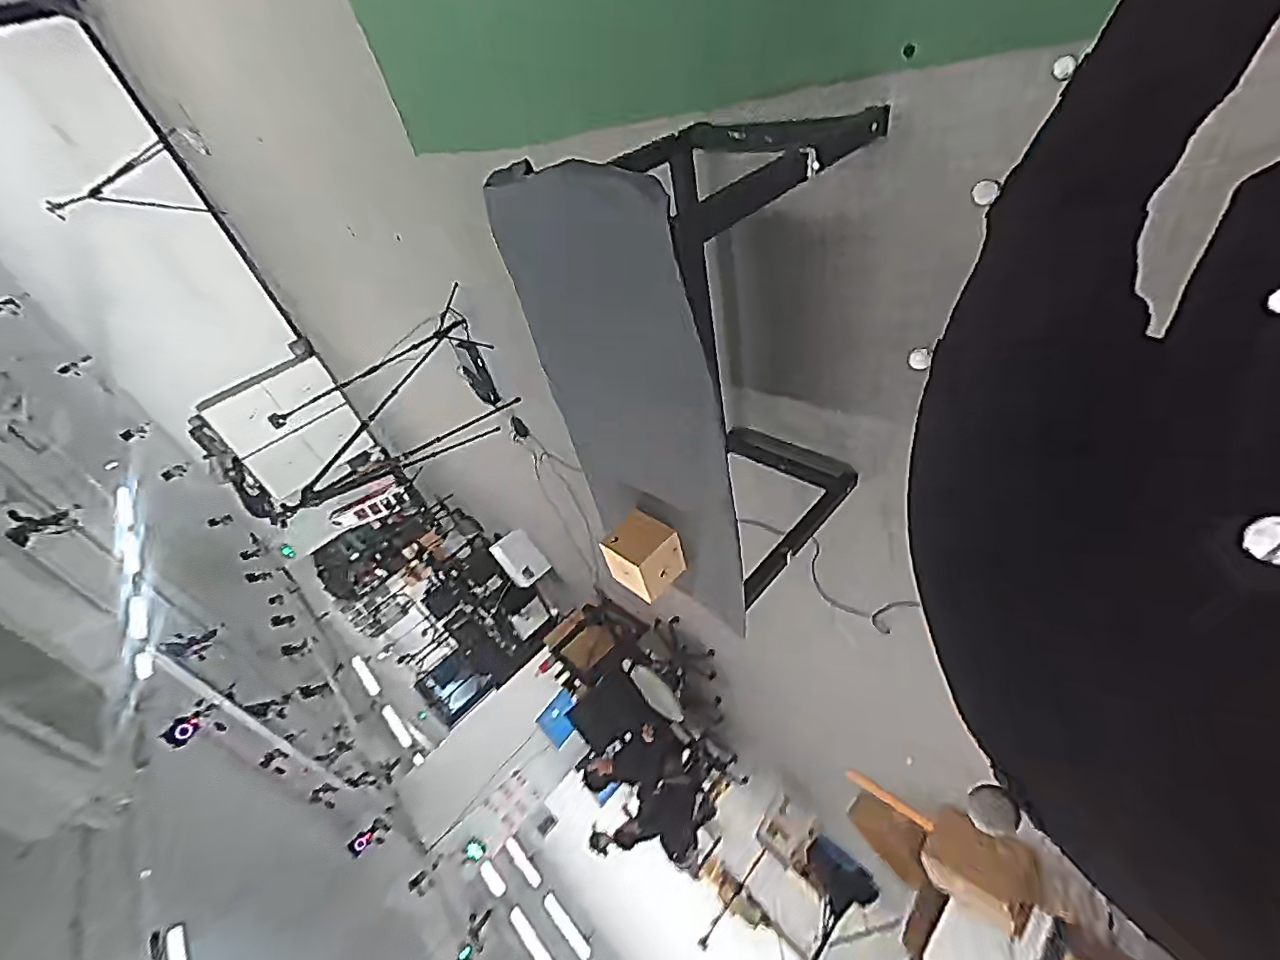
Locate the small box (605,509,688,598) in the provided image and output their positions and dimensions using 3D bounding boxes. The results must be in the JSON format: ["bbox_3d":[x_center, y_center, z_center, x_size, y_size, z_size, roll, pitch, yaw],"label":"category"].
[{"bbox_3d":[0.028,0.215,1.631,0.179,0.176,0.168,26,146,42],"label":"small box"}]
